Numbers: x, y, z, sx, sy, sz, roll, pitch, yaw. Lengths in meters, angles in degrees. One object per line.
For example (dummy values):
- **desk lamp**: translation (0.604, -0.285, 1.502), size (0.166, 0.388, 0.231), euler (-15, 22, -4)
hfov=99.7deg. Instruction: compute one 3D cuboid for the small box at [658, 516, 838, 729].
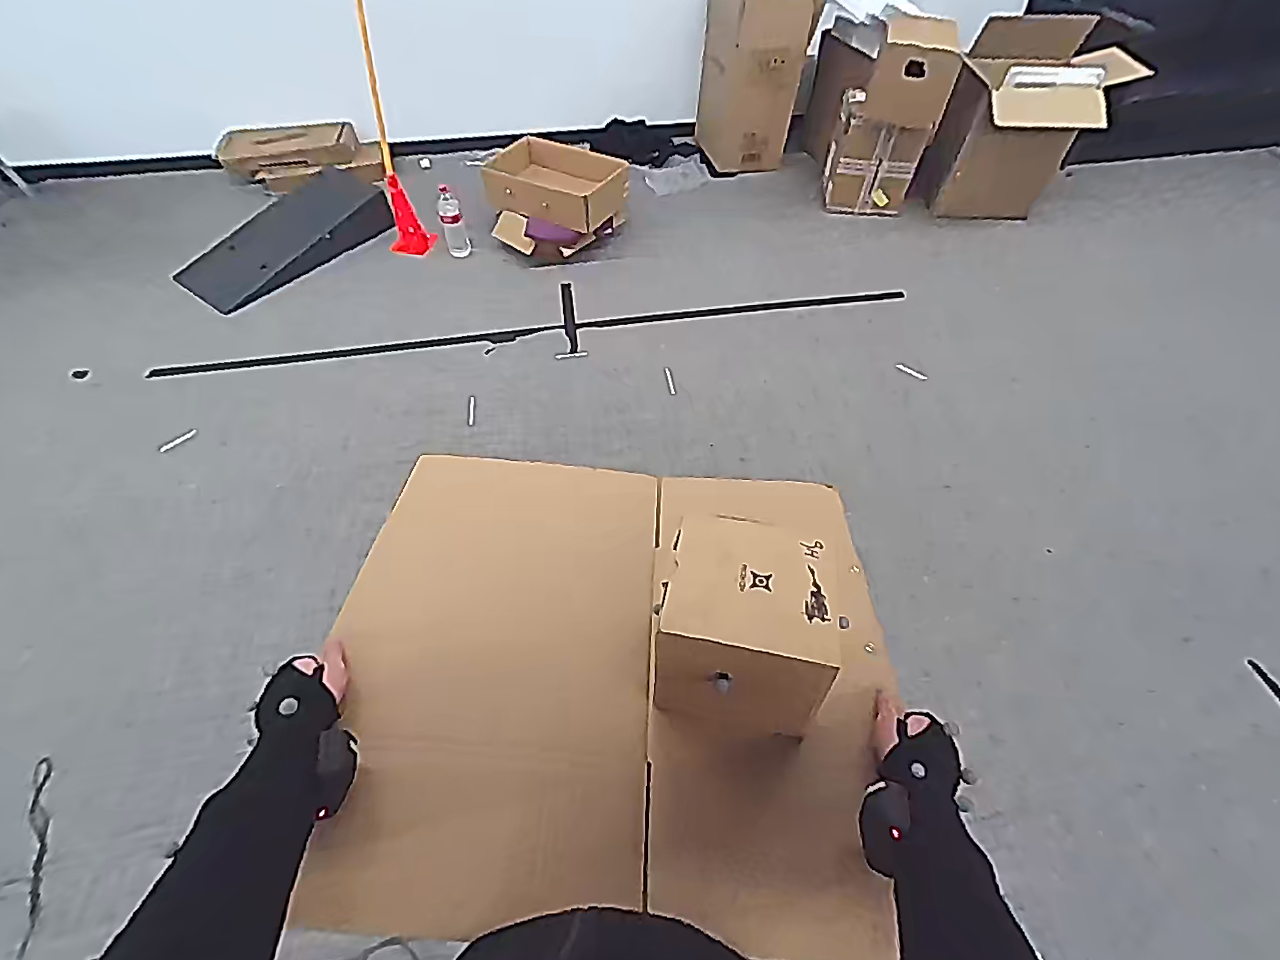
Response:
- **small box**: translation (0.121, 0.166, 0.630), size (0.179, 0.176, 0.168), euler (8, 45, 10)
